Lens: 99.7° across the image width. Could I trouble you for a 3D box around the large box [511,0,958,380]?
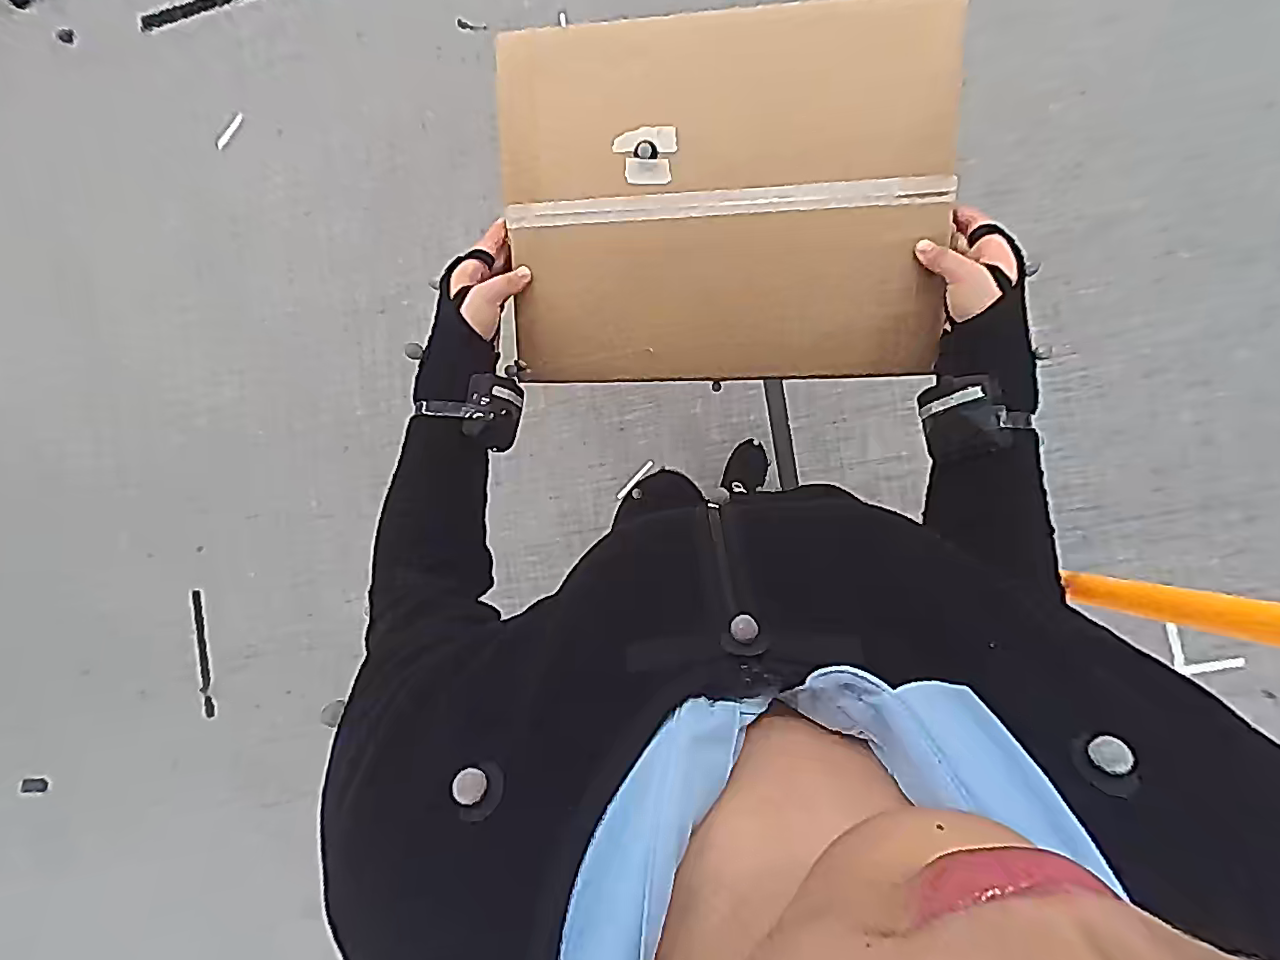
[{"bbox_3d":[0.100,-0.288,0.654,0.408,0.320,0.320,0,100,7],"label":"large box"}]
